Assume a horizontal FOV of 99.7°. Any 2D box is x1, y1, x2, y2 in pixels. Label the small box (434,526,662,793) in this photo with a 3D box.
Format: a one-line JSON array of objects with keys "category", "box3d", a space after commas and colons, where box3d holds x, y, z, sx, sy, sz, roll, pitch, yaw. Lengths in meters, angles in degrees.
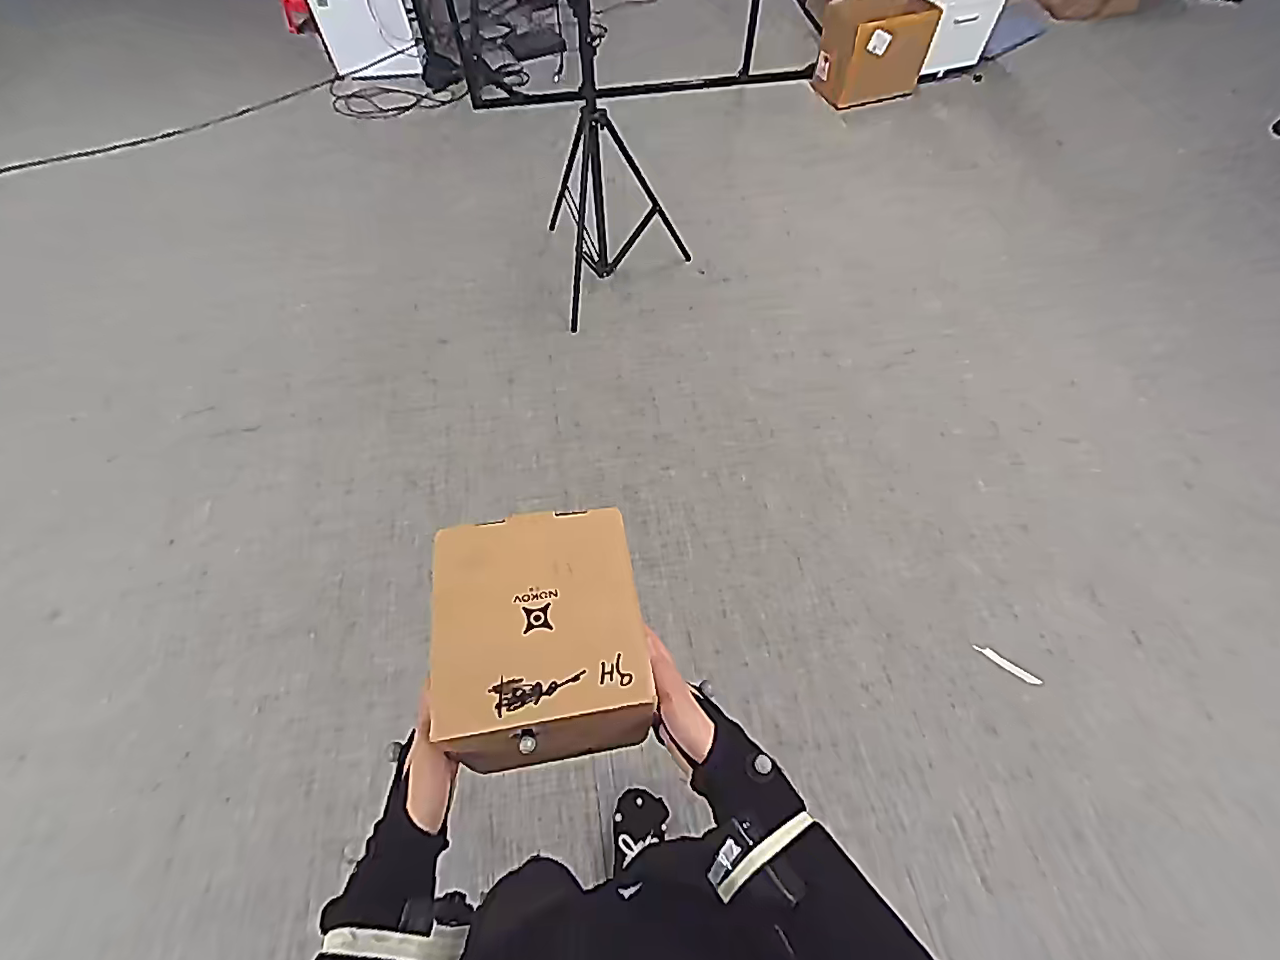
[{"category": "small box", "box3d": [-0.082, 0.166, 0.499, 0.168, 0.176, 0.179, -7, 53, -9]}]
